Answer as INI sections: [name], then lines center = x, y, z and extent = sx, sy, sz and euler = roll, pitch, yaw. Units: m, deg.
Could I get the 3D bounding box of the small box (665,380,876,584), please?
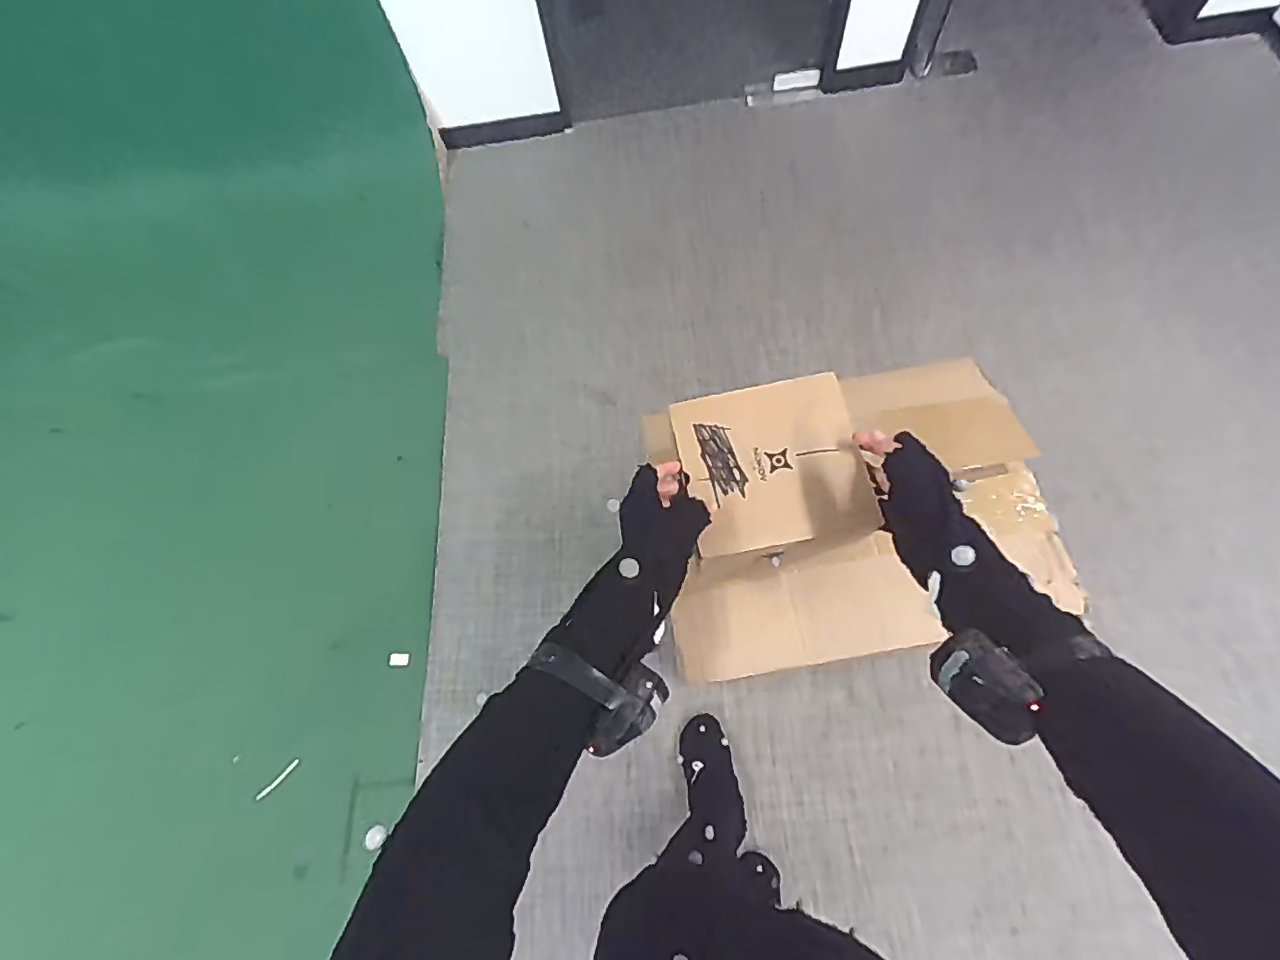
[small box]
center = 0.131, 0.014, 0.607
extent = 0.179, 0.176, 0.168
euler = -11, 71, 1
